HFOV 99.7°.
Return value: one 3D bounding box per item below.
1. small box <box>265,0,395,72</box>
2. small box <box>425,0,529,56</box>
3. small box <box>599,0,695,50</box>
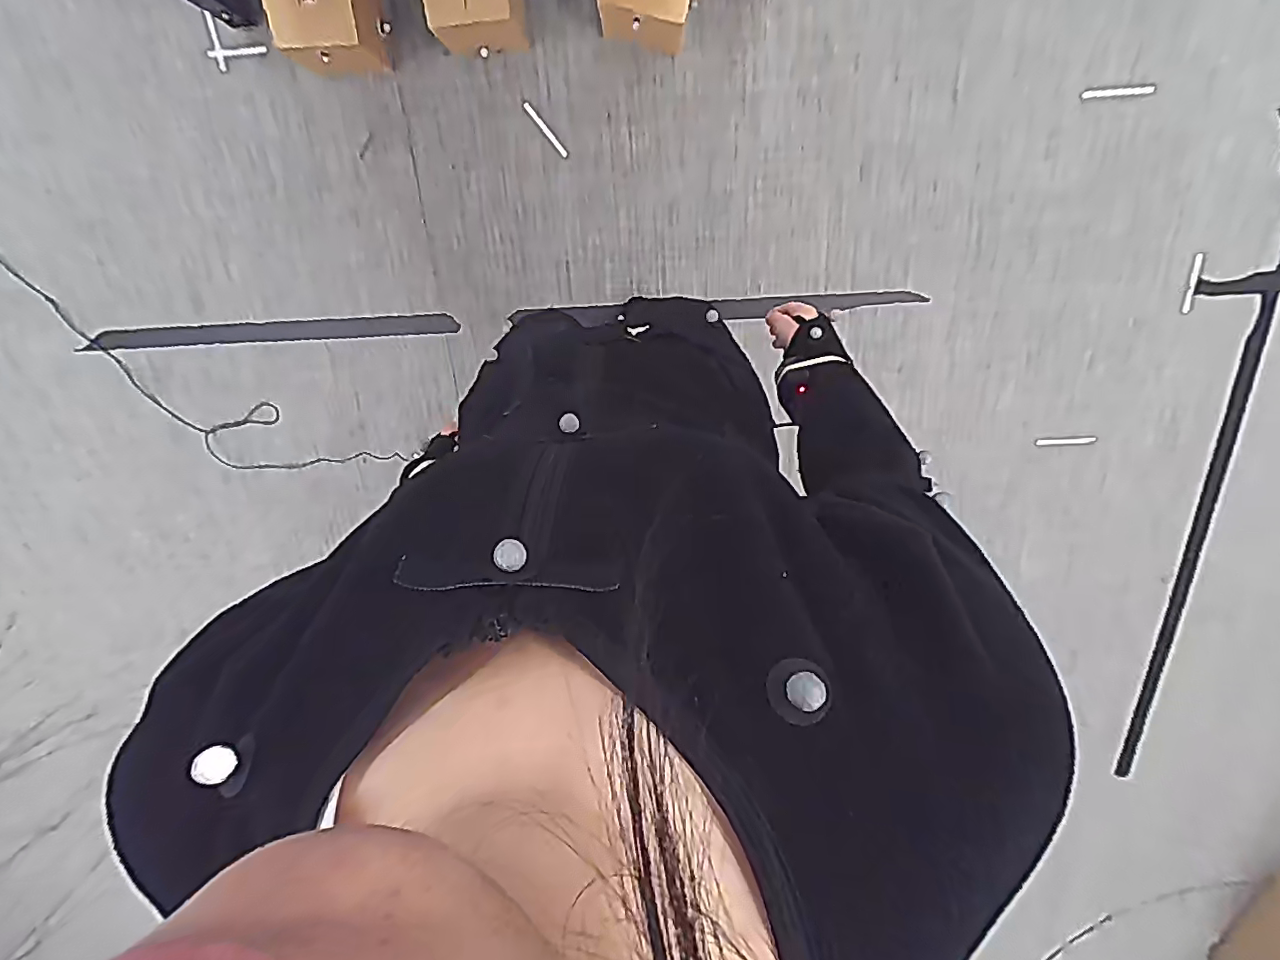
[{"bbox_3d":[-0.633,-0.961,1.107,0.179,0.176,0.168,-1,111,1],"label":"small box"},{"bbox_3d":[-0.330,-0.992,1.084,0.168,0.176,0.179,-3,111,3],"label":"small box"},{"bbox_3d":[0.027,-0.995,1.075,0.179,0.176,0.168,14,111,-2],"label":"small box"}]
